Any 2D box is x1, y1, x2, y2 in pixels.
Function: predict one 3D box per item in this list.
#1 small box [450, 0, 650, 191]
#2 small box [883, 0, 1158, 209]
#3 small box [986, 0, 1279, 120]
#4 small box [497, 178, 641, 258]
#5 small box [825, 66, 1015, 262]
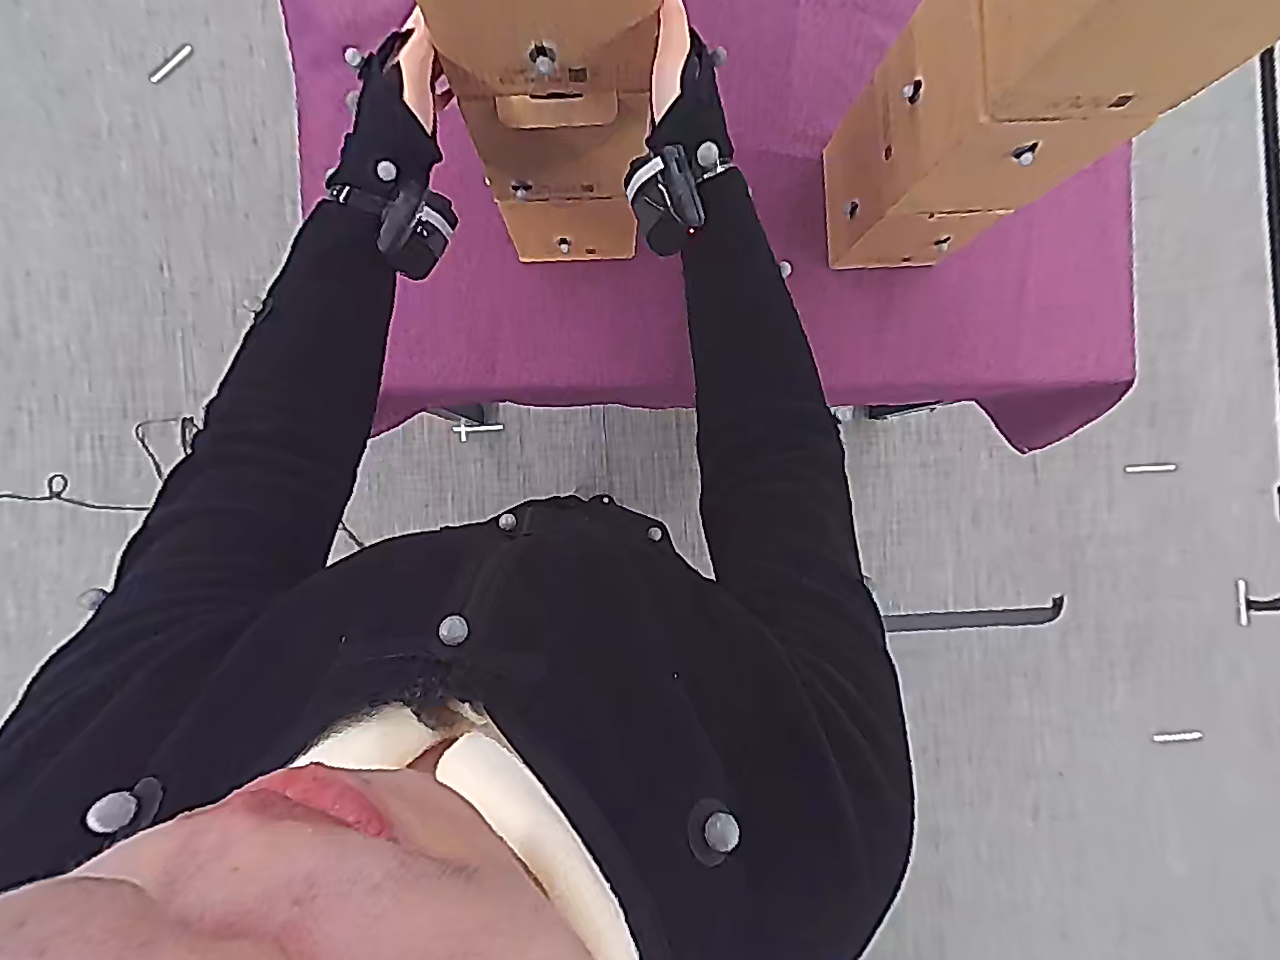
[{"bbox_3d":[-0.081,-0.406,0.531,0.168,0.176,0.179,-5,90,-4],"label":"small box"},{"bbox_3d":[0.367,-0.398,0.555,0.179,0.176,0.168,-4,91,-4],"label":"small box"},{"bbox_3d":[0.382,-0.403,0.391,0.168,0.176,0.179,-3,90,-3],"label":"small box"},{"bbox_3d":[-0.090,-0.407,0.695,0.168,0.176,0.179,-4,91,-4],"label":"small box"},{"bbox_3d":[0.359,-0.403,0.719,0.168,0.176,0.179,-3,90,-4],"label":"small box"}]
